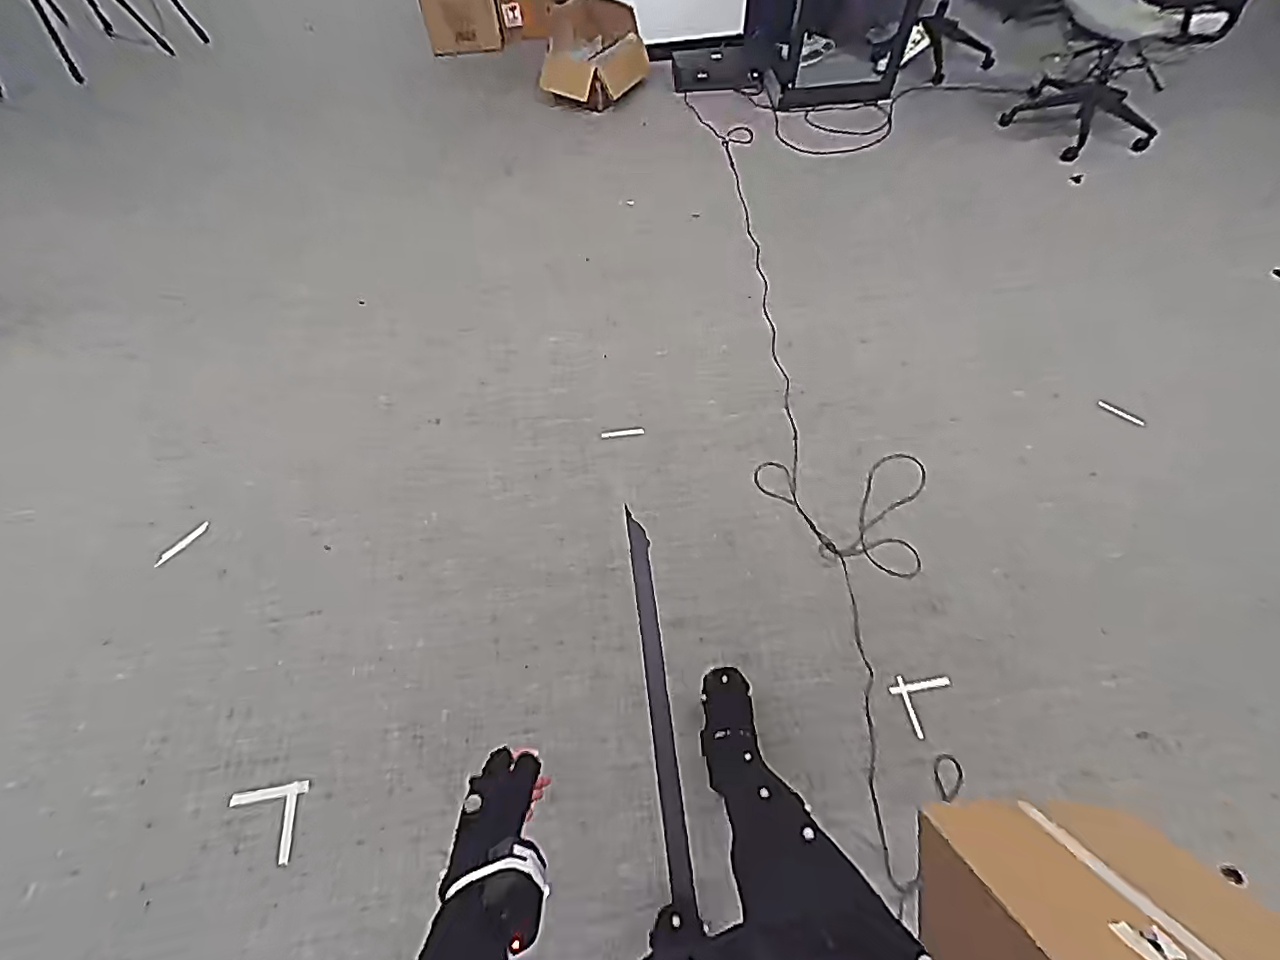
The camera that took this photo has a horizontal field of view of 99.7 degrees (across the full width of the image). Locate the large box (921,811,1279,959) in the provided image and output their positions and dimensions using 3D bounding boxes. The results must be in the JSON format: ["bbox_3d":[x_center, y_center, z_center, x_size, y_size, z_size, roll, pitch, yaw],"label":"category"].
[{"bbox_3d":[0.575,0.656,0.622,0.320,0.408,0.320,1,88,1],"label":"large box"}]
